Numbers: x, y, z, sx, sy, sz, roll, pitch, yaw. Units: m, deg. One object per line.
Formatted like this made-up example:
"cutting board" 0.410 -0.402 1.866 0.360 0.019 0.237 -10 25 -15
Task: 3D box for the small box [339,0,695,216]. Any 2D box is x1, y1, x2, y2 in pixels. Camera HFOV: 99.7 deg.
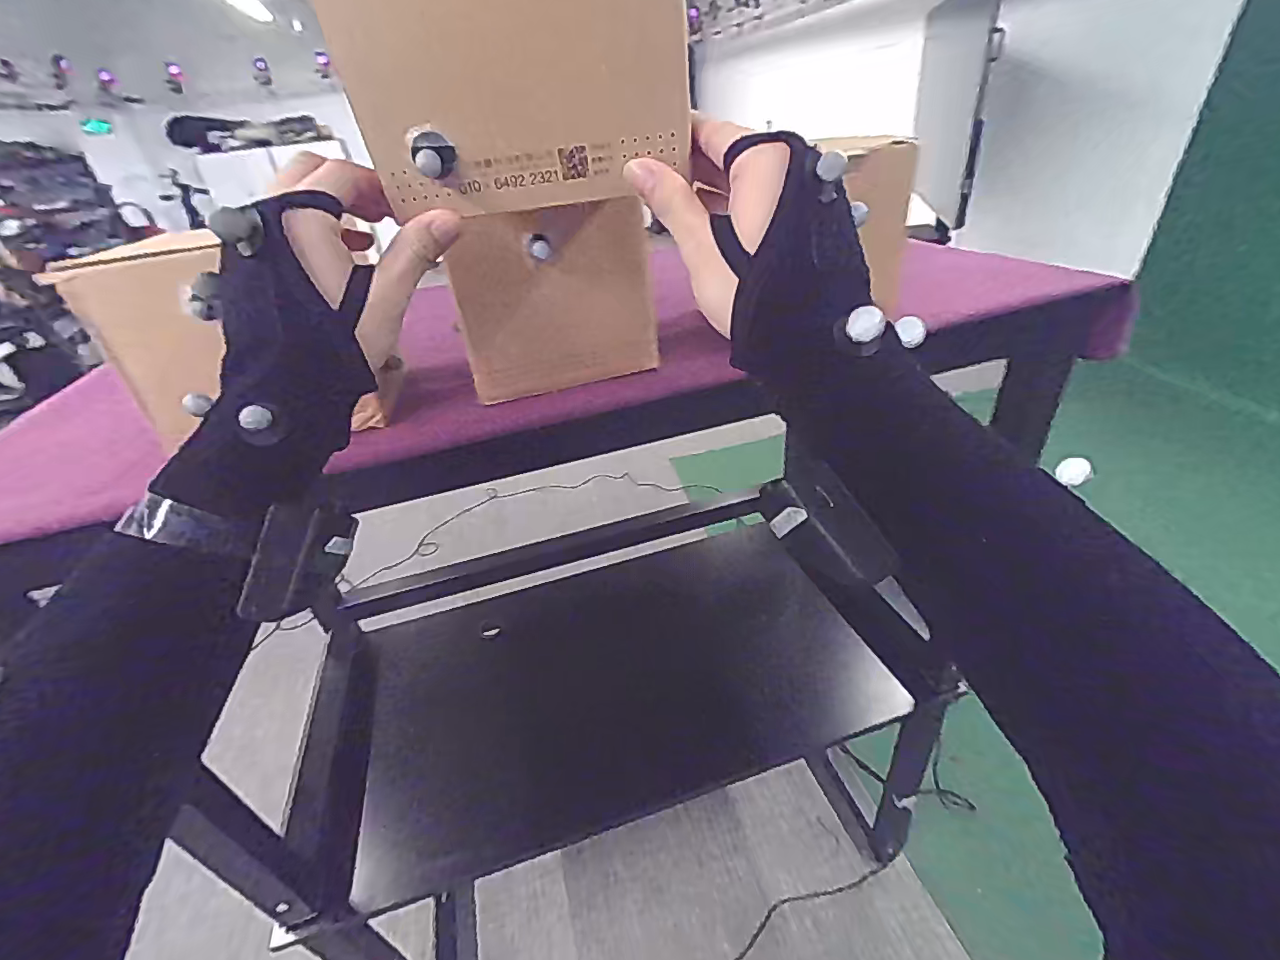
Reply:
"small box" -0.058 -0.267 0.320 0.168 0.176 0.179 -5 39 3

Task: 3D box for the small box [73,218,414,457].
"small box" -0.336 -0.138 0.509 0.179 0.176 0.168 -12 33 -9
